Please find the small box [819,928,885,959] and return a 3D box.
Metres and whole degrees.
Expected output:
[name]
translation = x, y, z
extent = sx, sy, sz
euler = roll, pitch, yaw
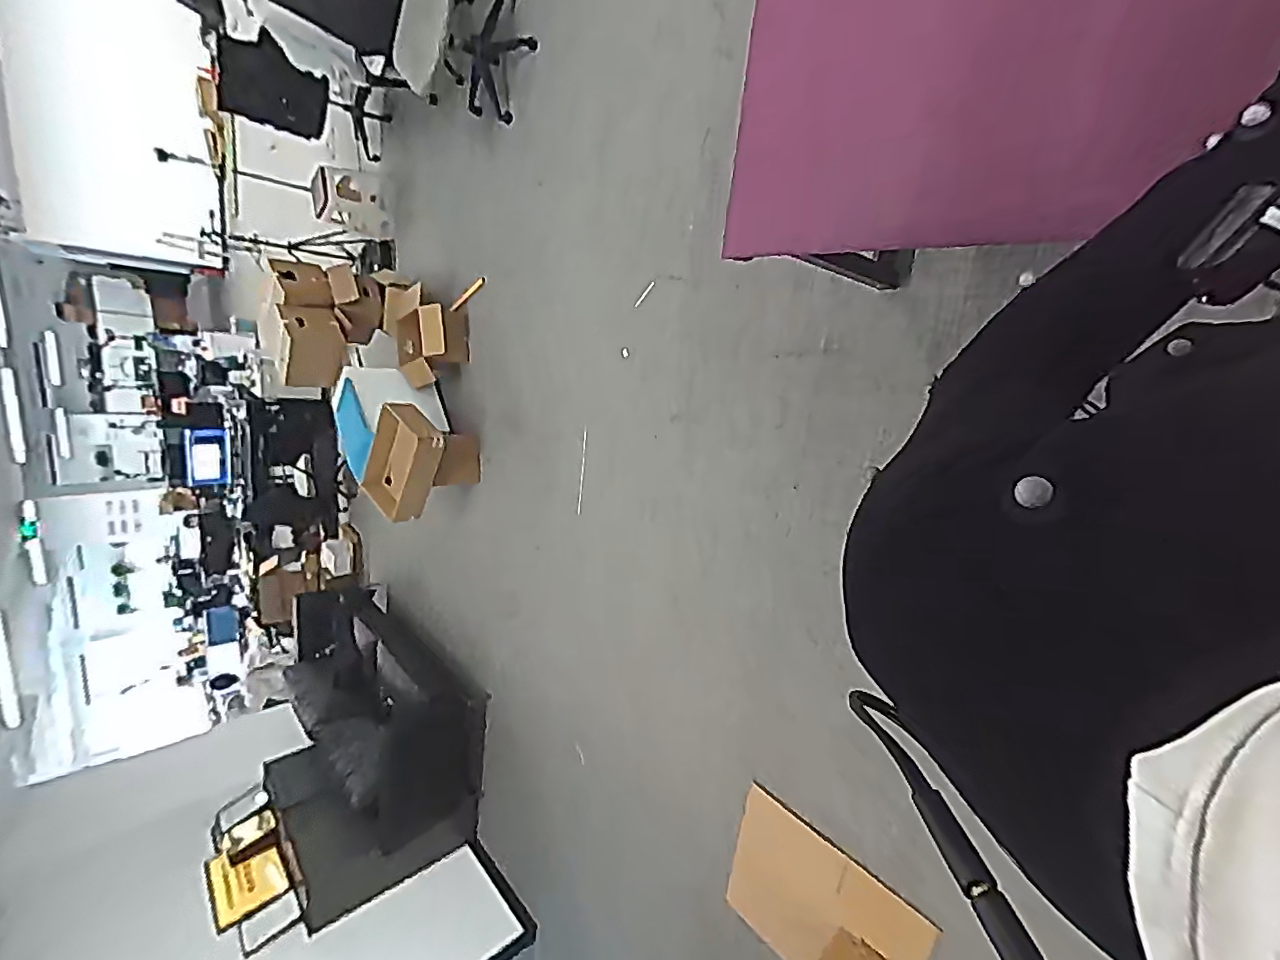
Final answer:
[small box]
translation = 0.692, 1.639, 1.765
extent = 0.168, 0.176, 0.179
euler = 12, 103, 45
